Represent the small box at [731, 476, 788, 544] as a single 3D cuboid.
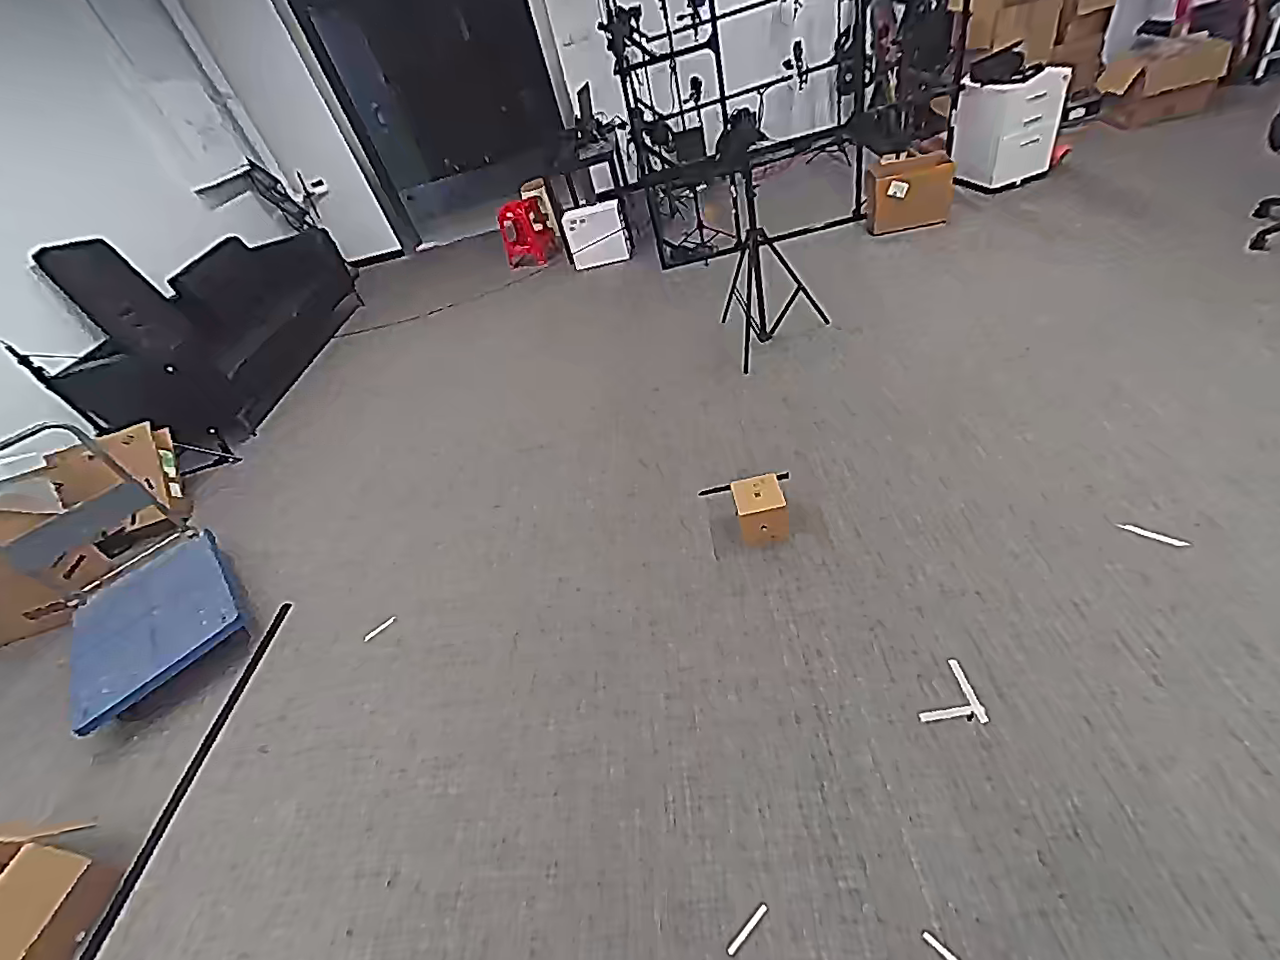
[{"bbox_3d":[0.432,0.115,1.950,0.168,0.176,0.179,-12,40,7],"label":"small box"}]
